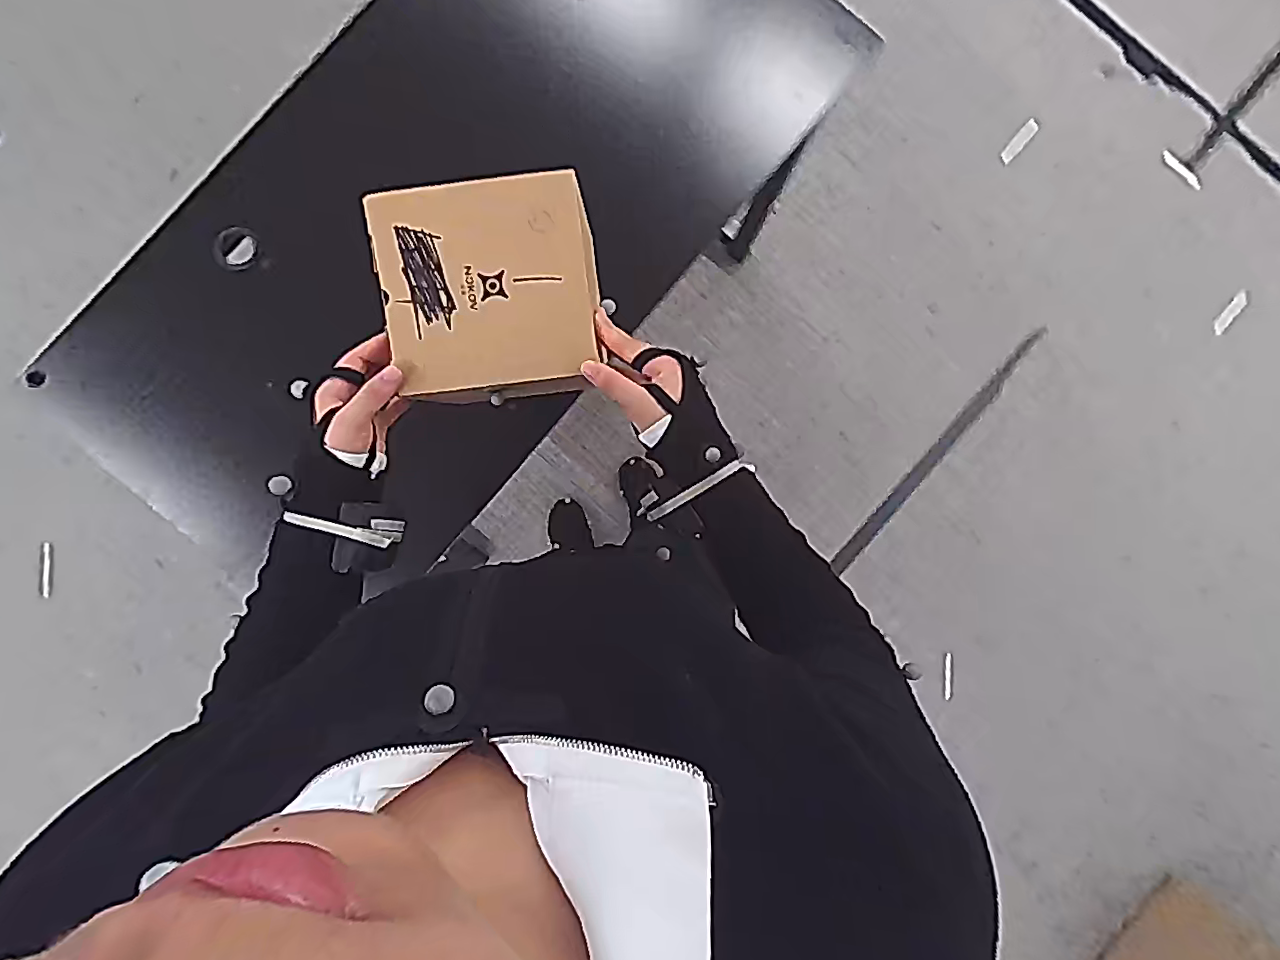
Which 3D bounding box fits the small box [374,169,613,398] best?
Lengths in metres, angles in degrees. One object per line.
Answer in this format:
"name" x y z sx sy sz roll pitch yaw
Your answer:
"small box" -0.124 -0.172 0.527 0.179 0.176 0.168 -6 96 0
